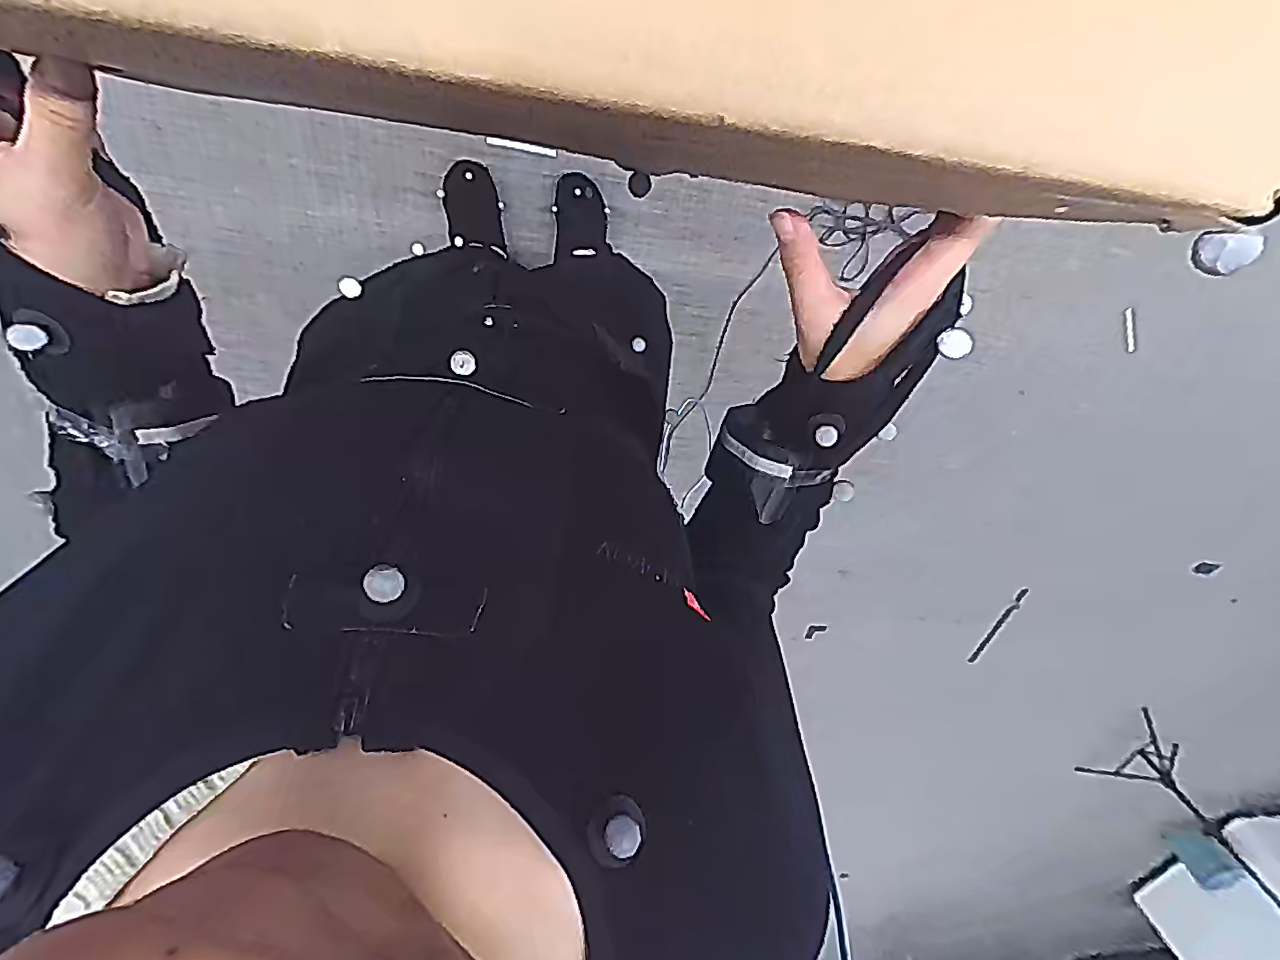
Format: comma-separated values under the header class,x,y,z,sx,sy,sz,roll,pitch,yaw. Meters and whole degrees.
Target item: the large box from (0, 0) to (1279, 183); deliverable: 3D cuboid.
class,x,y,z,sx,sy,sz,roll,pitch,yaw
large box,-0.057,-0.289,0.153,0.408,0.320,0.320,5,121,-4
